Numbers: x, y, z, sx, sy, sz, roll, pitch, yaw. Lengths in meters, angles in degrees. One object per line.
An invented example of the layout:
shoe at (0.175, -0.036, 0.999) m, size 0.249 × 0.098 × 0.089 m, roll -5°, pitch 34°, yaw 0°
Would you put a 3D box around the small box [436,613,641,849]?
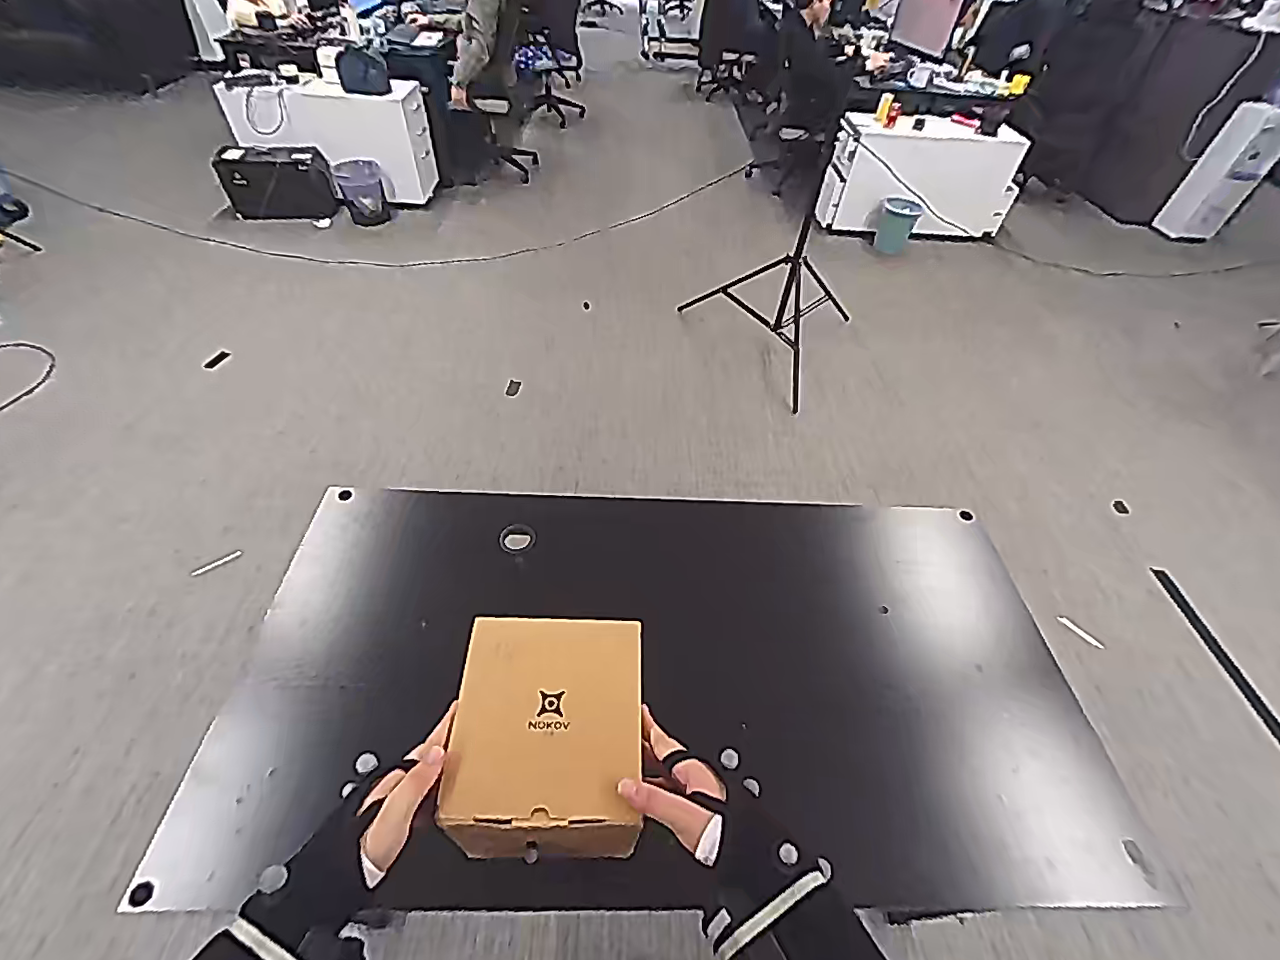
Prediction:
small box at (-0.088, 0.253, 0.544) m, size 0.168 × 0.176 × 0.179 m, roll 2°, pitch 49°, yaw -4°
